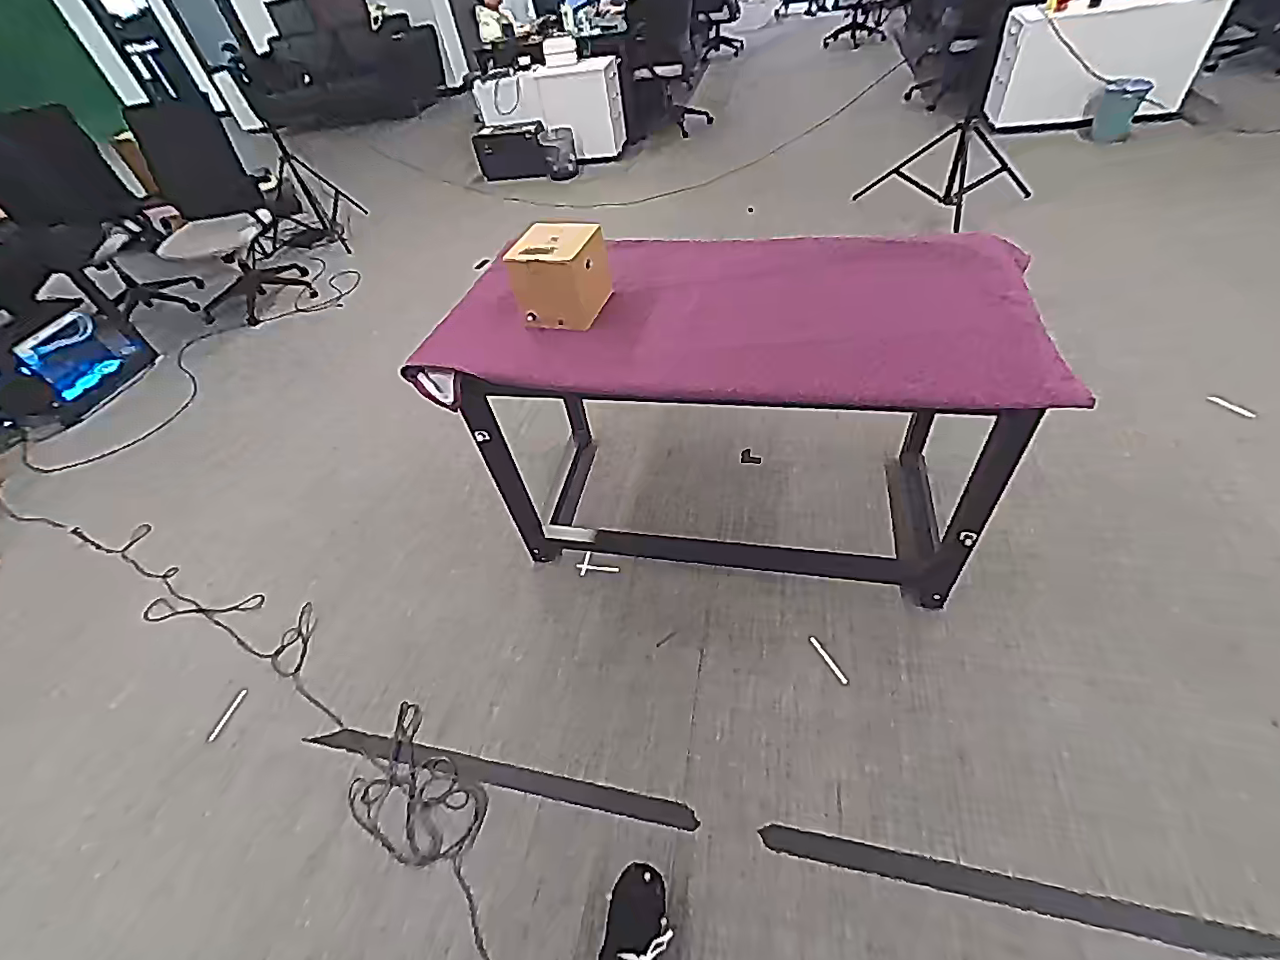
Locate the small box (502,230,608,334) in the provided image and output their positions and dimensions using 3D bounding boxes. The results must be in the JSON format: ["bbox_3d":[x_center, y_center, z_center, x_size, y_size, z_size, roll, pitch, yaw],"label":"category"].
[{"bbox_3d":[-0.184,-0.454,1.241,0.168,0.176,0.179,9,50,17],"label":"small box"}]
